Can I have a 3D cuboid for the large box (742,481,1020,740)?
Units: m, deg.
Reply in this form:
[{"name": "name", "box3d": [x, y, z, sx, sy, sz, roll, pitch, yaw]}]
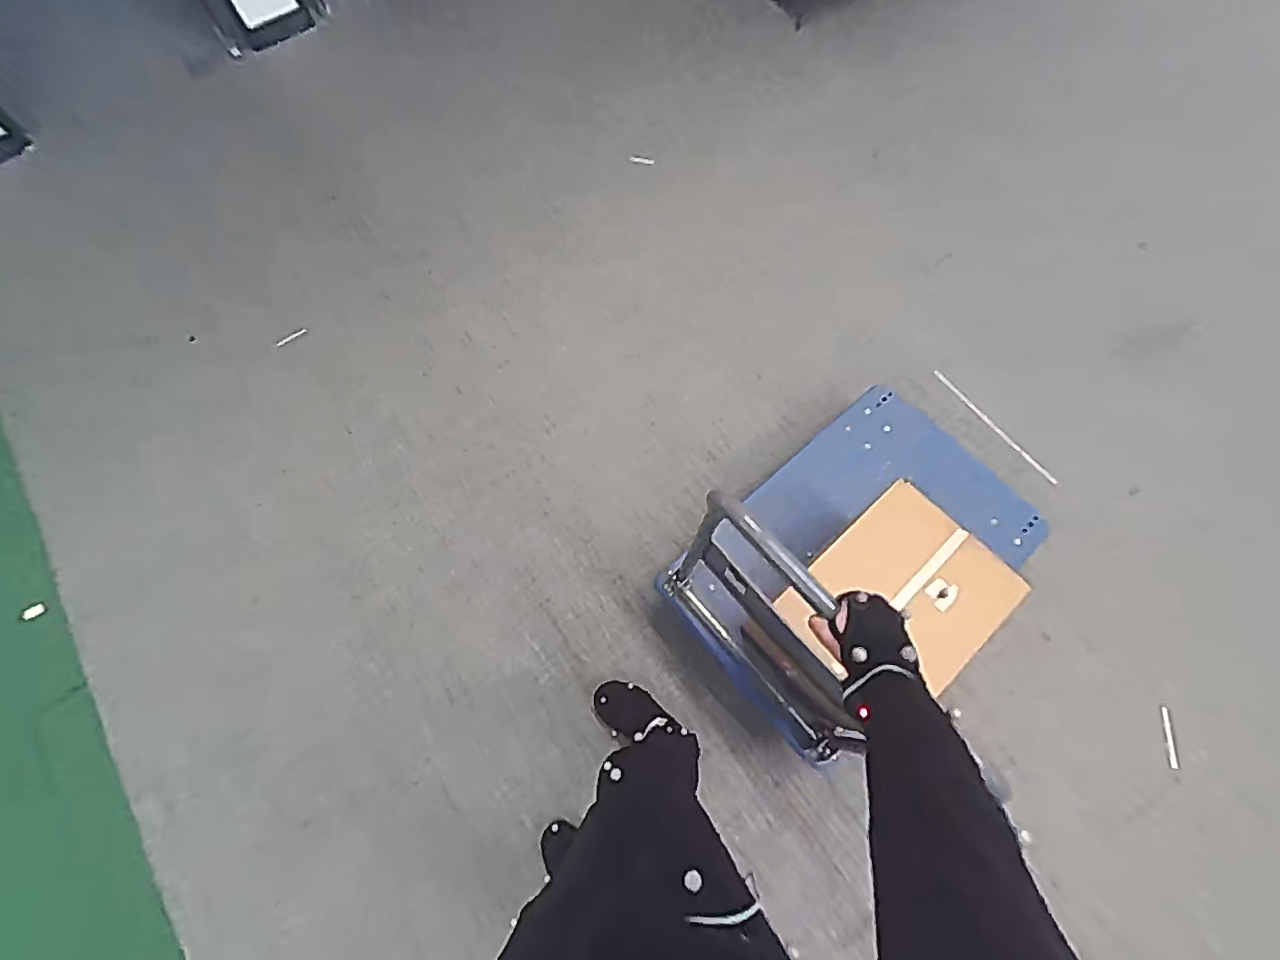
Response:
[{"name": "large box", "box3d": [0.484, 0.284, 1.167, 0.408, 0.320, 0.320, -39, 74, -14]}]
